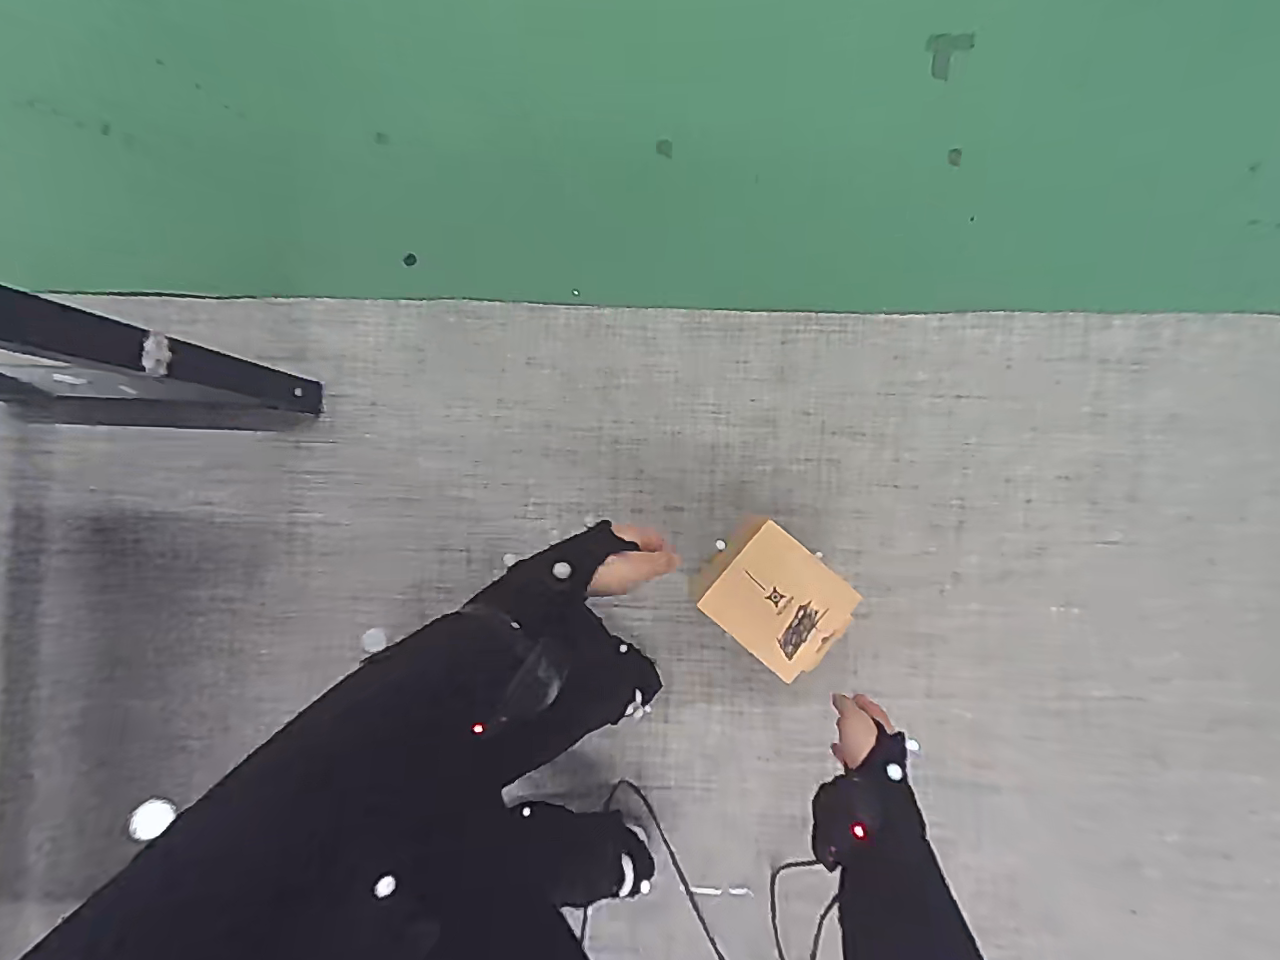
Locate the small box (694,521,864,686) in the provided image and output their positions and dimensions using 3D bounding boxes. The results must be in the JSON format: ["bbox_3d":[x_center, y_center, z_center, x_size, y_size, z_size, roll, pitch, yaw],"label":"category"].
[{"bbox_3d":[0.203,0.176,0.841,0.179,0.176,0.168,41,90,3],"label":"small box"}]
